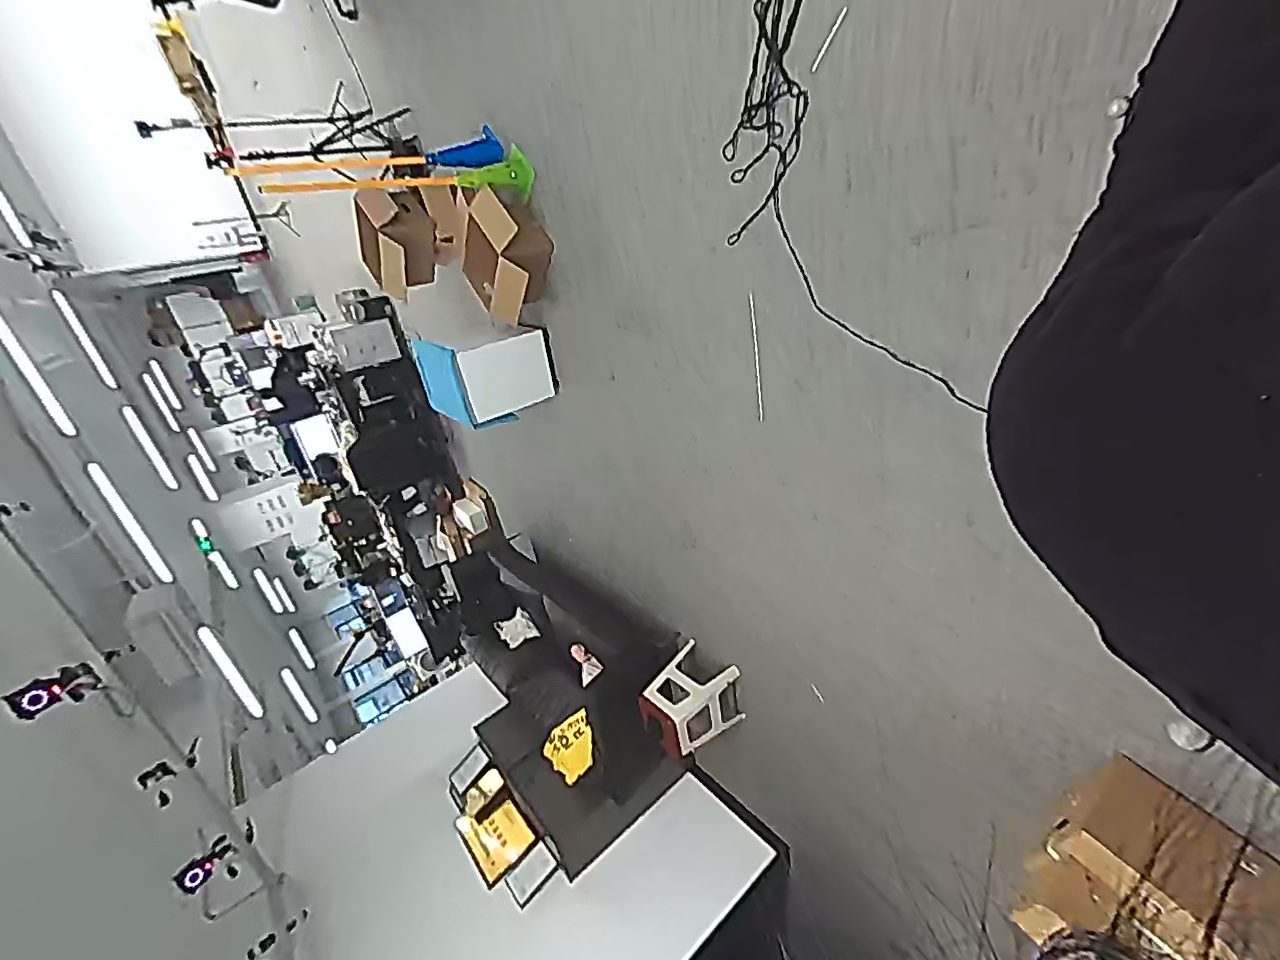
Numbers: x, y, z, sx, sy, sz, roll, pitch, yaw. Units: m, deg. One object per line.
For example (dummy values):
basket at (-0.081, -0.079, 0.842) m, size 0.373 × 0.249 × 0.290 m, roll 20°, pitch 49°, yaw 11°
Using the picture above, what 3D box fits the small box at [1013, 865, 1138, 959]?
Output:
small box at (1.110, 1.136, 1.378) m, size 0.168 × 0.176 × 0.179 m, roll 39°, pitch 143°, yaw 34°
